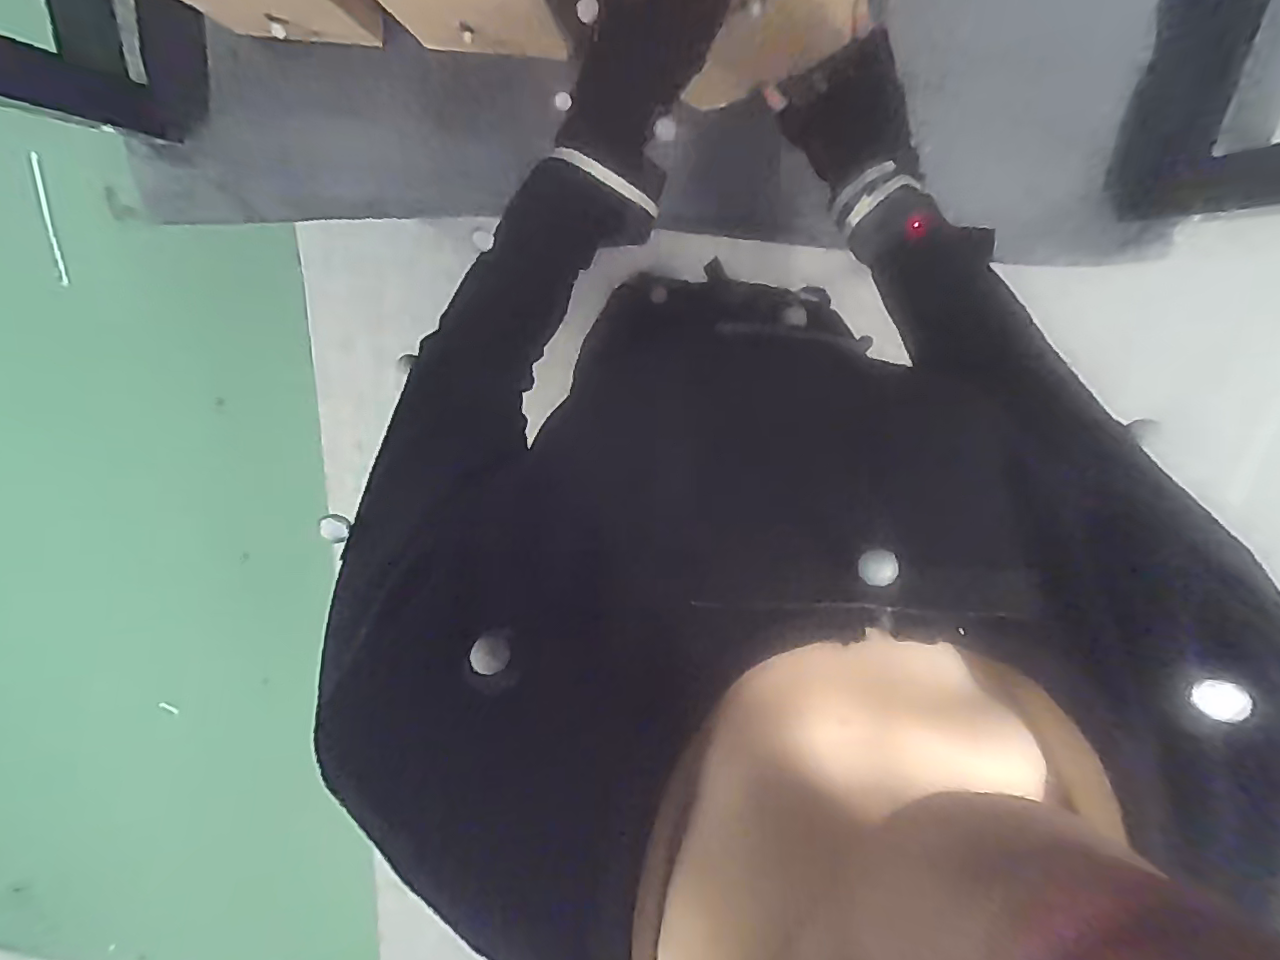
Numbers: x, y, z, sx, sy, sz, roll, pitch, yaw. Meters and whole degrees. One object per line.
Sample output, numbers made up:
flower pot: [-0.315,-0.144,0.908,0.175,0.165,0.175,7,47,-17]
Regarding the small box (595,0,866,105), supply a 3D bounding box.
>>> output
small box: [0.070,-0.443,0.425,0.168,0.176,0.179,8,106,38]
